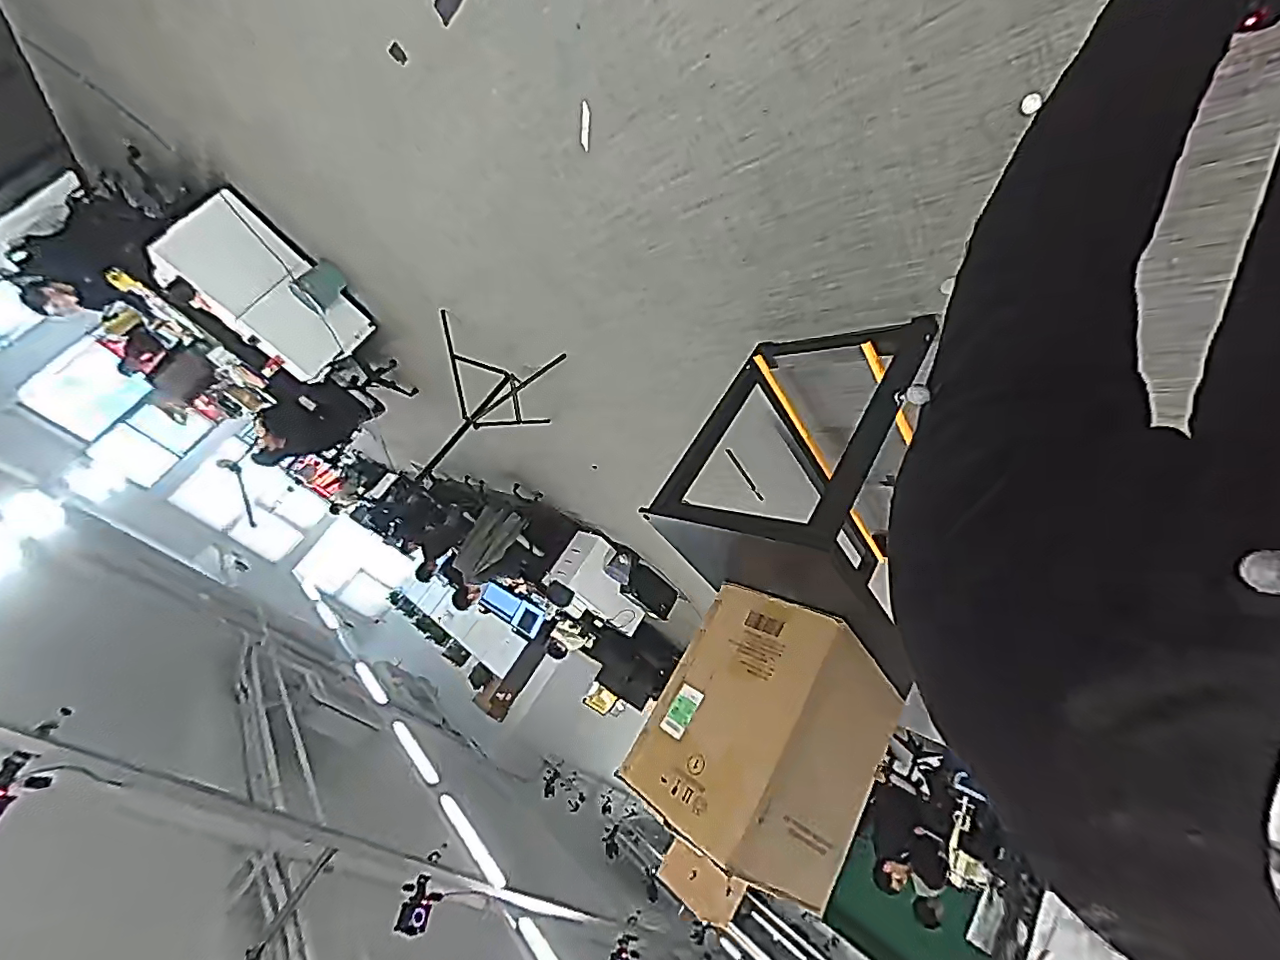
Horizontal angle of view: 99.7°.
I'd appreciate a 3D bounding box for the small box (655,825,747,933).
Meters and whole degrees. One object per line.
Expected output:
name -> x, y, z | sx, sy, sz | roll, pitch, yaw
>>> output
small box -> 0.183, 1.130, 1.541 | 0.179, 0.176, 0.168 | 11, 149, 50
